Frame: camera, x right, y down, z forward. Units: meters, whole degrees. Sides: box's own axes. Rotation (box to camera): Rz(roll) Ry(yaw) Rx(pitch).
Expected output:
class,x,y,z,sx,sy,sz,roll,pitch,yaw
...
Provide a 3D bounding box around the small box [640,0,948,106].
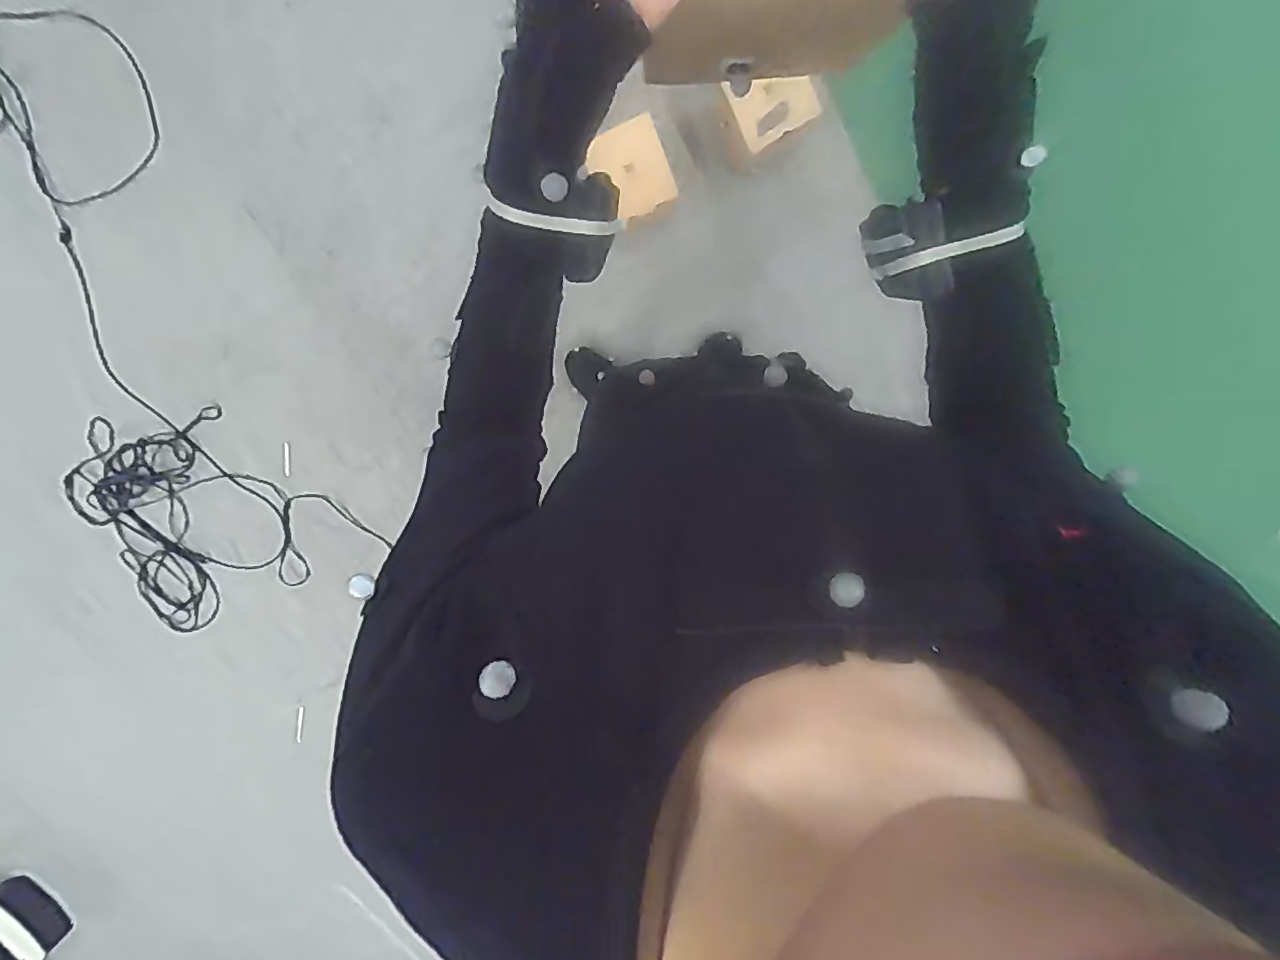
class,x,y,z,sx,sy,sz,roll,pitch,yaw
small box,0.081,-0.355,0.323,0.168,0.176,0.179,-3,110,2

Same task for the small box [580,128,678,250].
class,x,y,z,sx,sy,sz,roll,pitch,yaw
small box,-0.024,-0.654,1.238,0.168,0.176,0.179,-23,104,6
